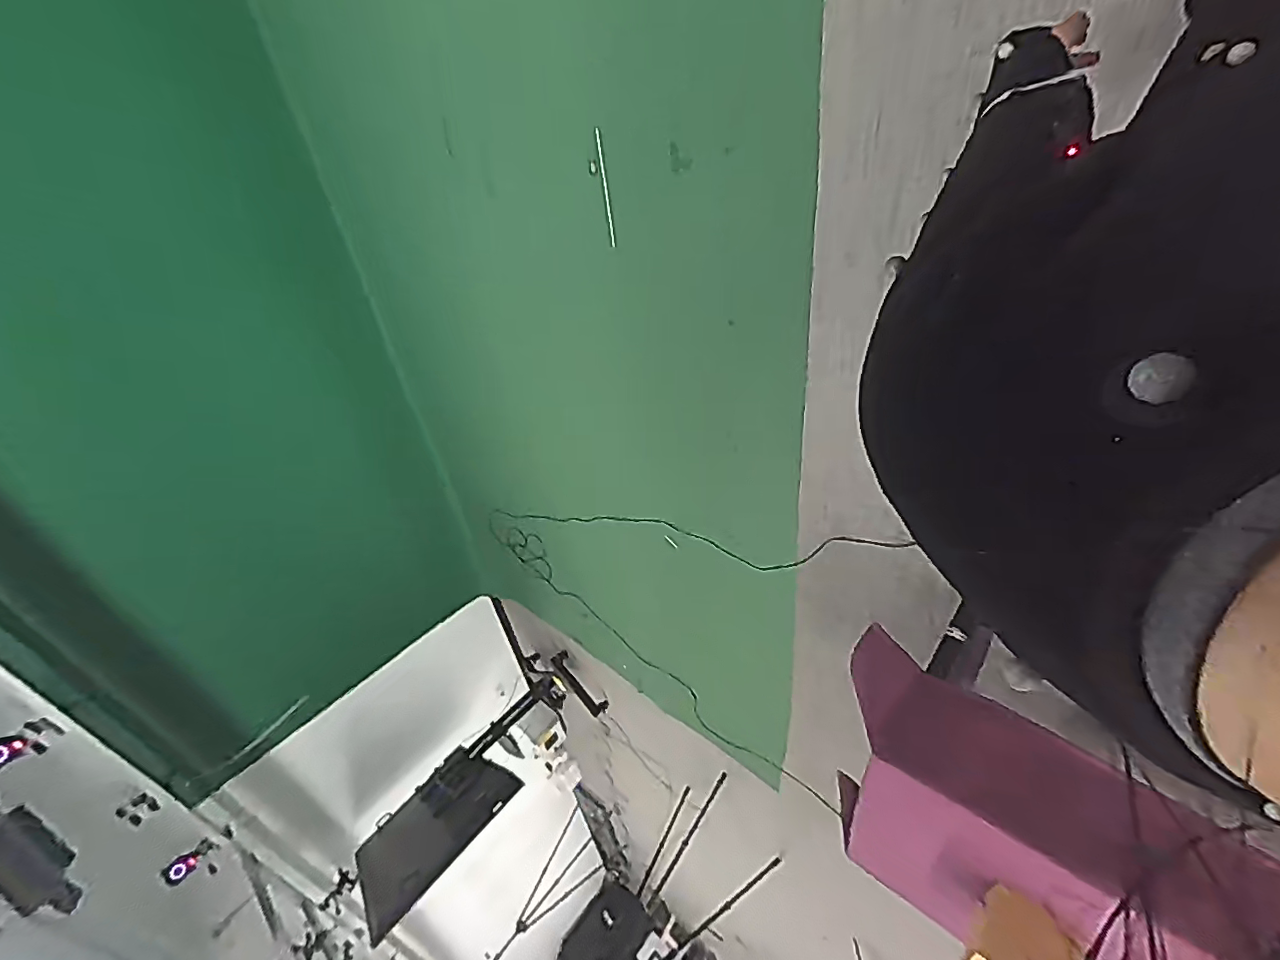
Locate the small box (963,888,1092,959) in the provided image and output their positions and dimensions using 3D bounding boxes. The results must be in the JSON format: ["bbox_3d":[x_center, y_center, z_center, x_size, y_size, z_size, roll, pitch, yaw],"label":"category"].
[{"bbox_3d":[0.820,1.031,1.152,0.179,0.176,0.168,26,137,36],"label":"small box"}]
